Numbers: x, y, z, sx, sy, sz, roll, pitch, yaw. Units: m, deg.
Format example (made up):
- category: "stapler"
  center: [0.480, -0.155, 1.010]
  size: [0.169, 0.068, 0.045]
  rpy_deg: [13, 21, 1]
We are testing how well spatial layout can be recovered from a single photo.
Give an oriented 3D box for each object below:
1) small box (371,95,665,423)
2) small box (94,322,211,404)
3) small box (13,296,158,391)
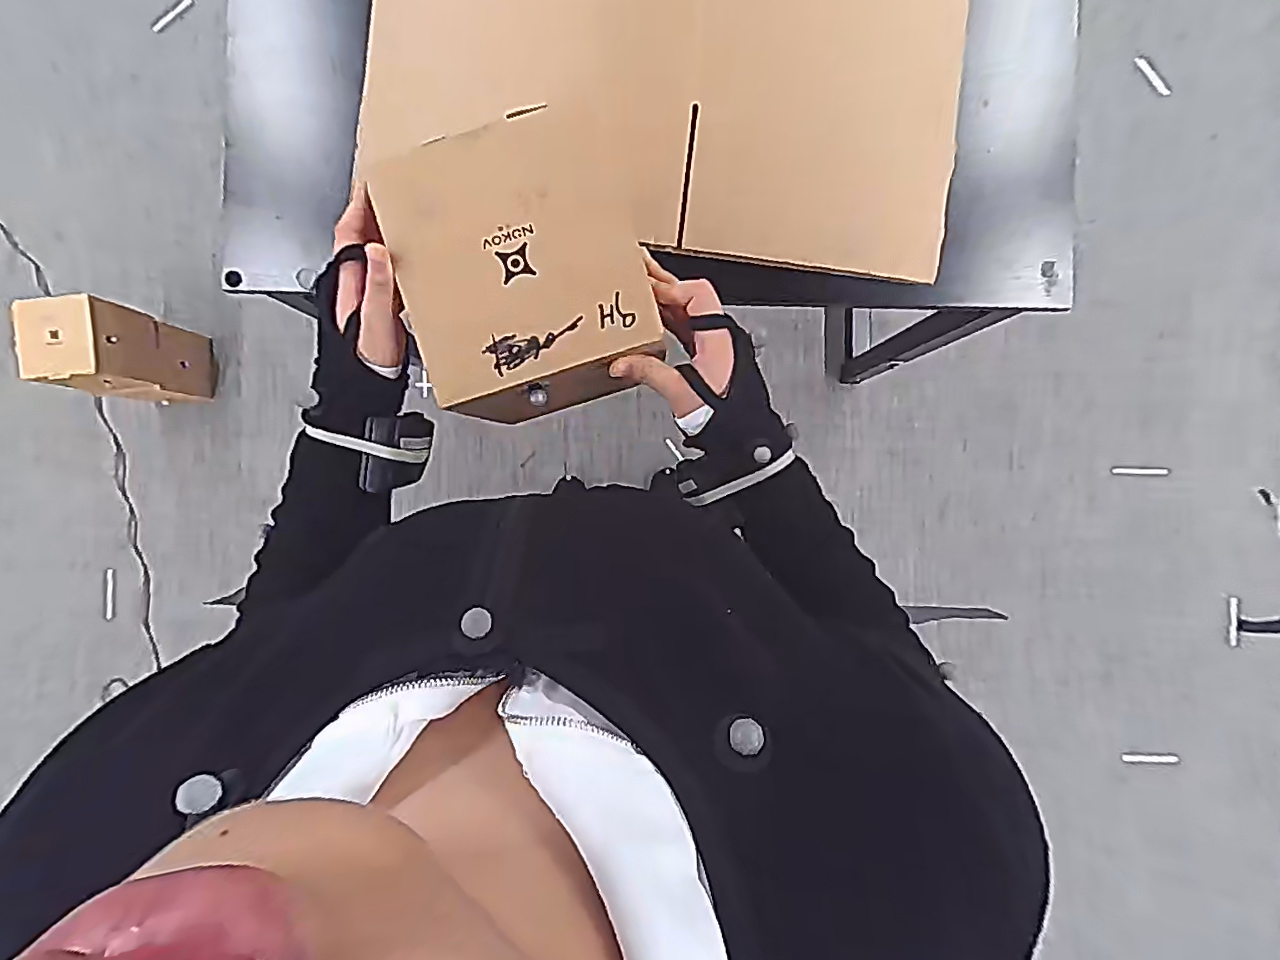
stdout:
- category: "small box"
  center: [-0.082, -0.156, 0.445]
  size: [0.168, 0.176, 0.179]
  rpy_deg: [-16, 90, 2]
- category: "small box"
  center: [-1.265, -0.300, 1.410]
  size: [0.168, 0.176, 0.179]
  rpy_deg: [-3, 91, 0]
- category: "small box"
  center: [-1.266, -0.305, 1.247]
  size: [0.168, 0.176, 0.179]
  rpy_deg: [-6, 89, -1]
